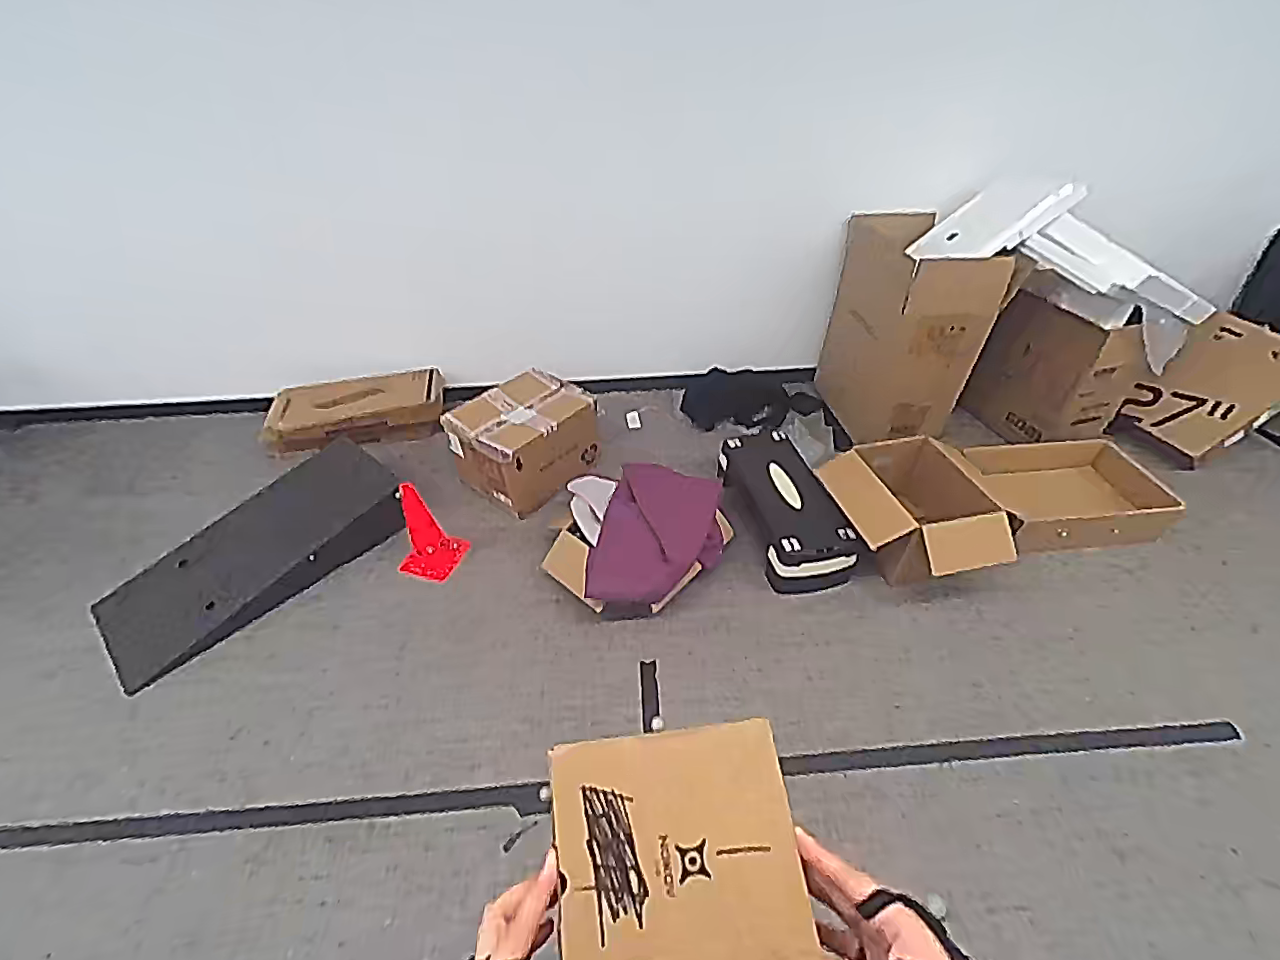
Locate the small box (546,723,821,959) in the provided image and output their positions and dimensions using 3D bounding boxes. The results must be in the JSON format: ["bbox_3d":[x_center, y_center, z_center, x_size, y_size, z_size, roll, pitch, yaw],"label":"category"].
[{"bbox_3d":[0.018,0.306,0.442,0.179,0.176,0.168,-3,61,-9],"label":"small box"}]
